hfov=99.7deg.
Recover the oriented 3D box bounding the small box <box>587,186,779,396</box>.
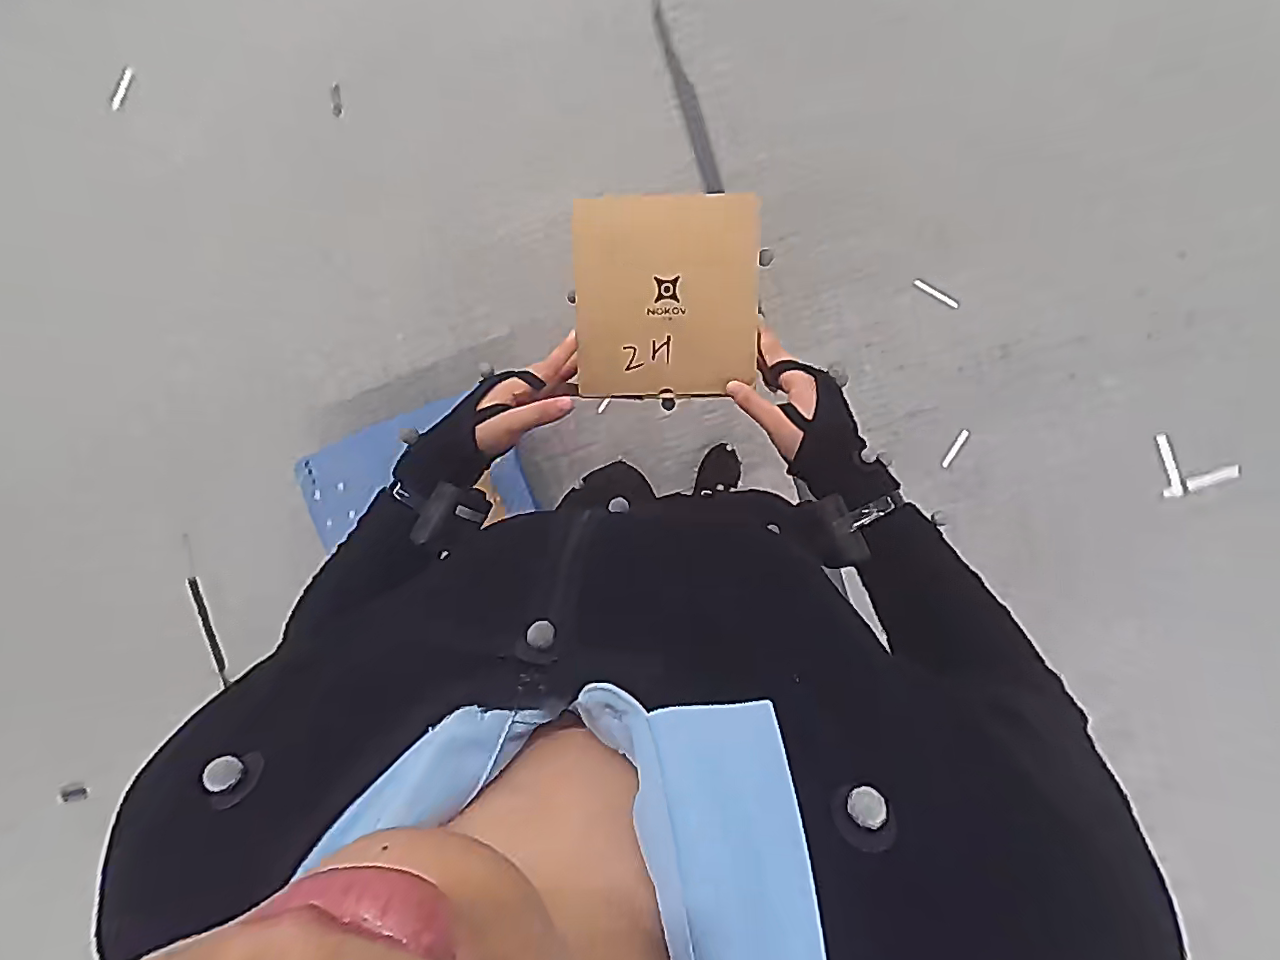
[{"bbox_3d":[0.040,-0.177,0.553,0.168,0.176,0.179,2,100,4],"label":"small box"}]
